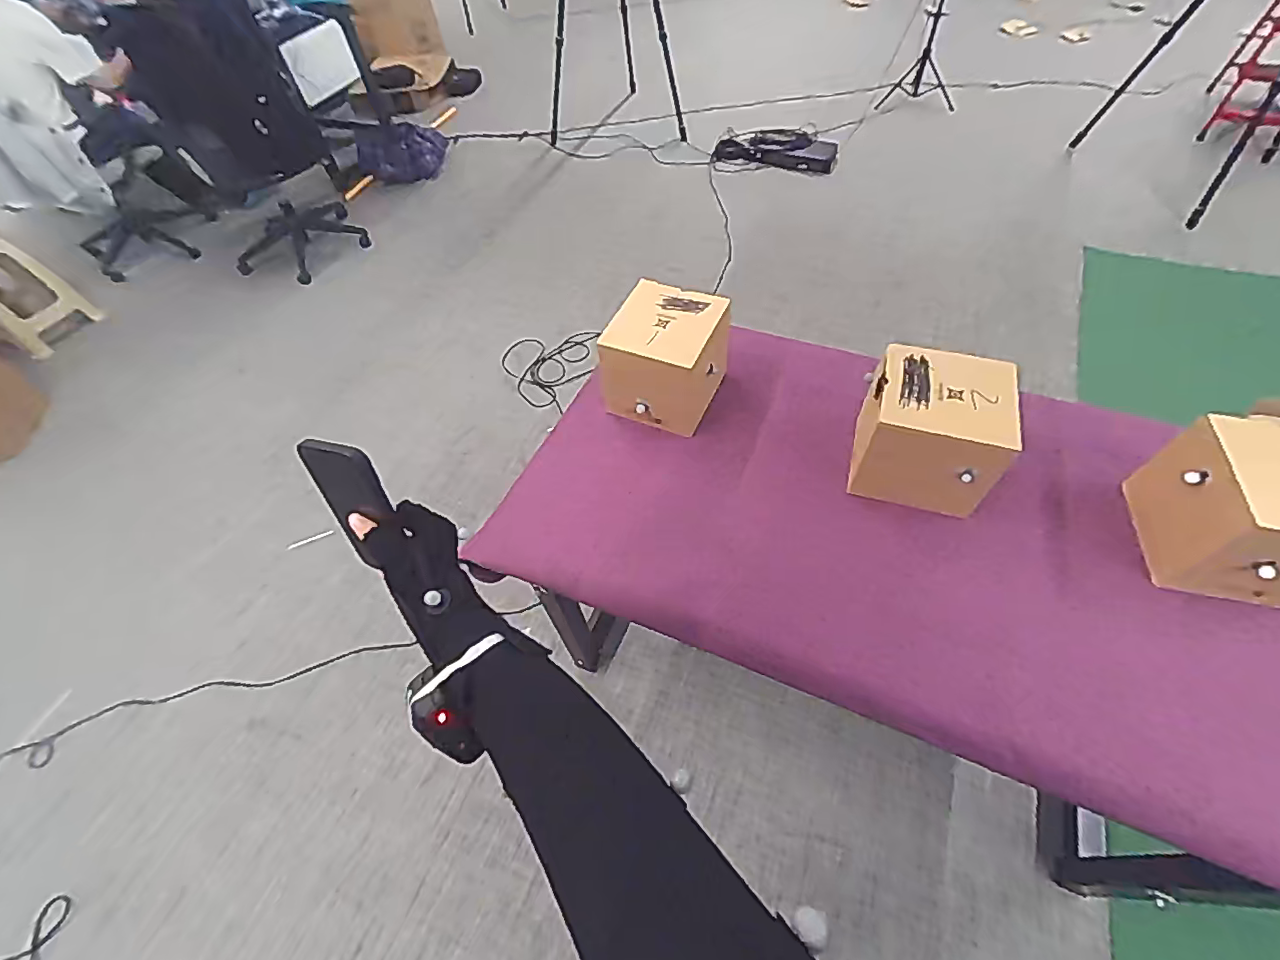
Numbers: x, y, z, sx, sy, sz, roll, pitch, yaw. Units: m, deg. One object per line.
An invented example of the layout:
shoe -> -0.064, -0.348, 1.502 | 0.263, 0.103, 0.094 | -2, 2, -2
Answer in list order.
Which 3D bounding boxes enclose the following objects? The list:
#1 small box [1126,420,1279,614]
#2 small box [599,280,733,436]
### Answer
small box -> 0.781, 0.051, 0.691 | 0.168, 0.176, 0.179 | 9, 55, 12
small box -> 0.047, -0.208, 0.929 | 0.168, 0.176, 0.179 | 20, 60, 17
